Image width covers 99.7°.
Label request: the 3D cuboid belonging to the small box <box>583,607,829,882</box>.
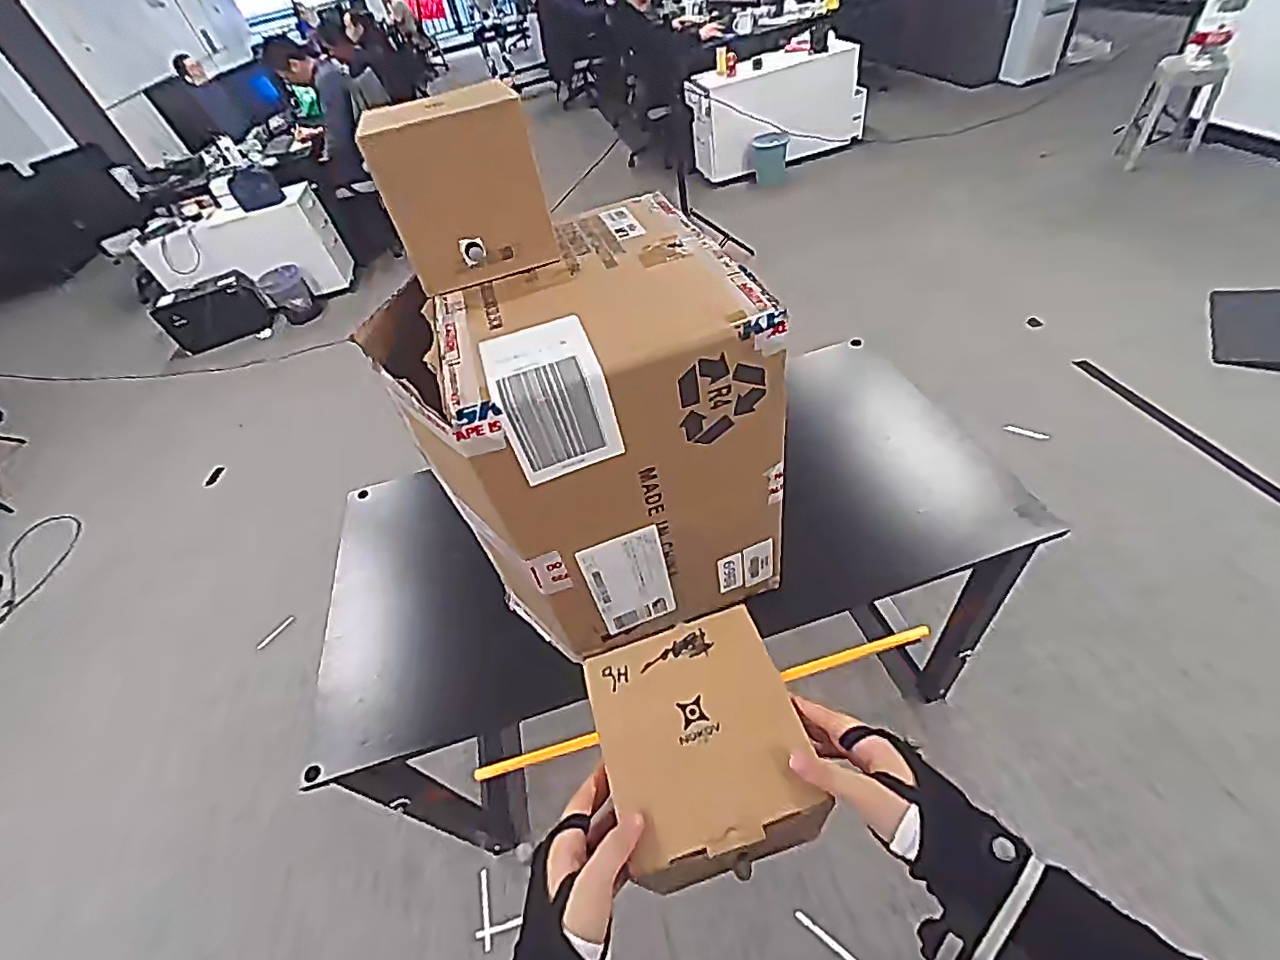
[{"bbox_3d":[0.060,0.256,0.516,0.168,0.176,0.179,-19,49,-3],"label":"small box"}]

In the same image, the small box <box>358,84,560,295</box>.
[{"bbox_3d":[-0.209,-0.345,0.644,0.168,0.176,0.179,-21,45,-7],"label":"small box"}]
